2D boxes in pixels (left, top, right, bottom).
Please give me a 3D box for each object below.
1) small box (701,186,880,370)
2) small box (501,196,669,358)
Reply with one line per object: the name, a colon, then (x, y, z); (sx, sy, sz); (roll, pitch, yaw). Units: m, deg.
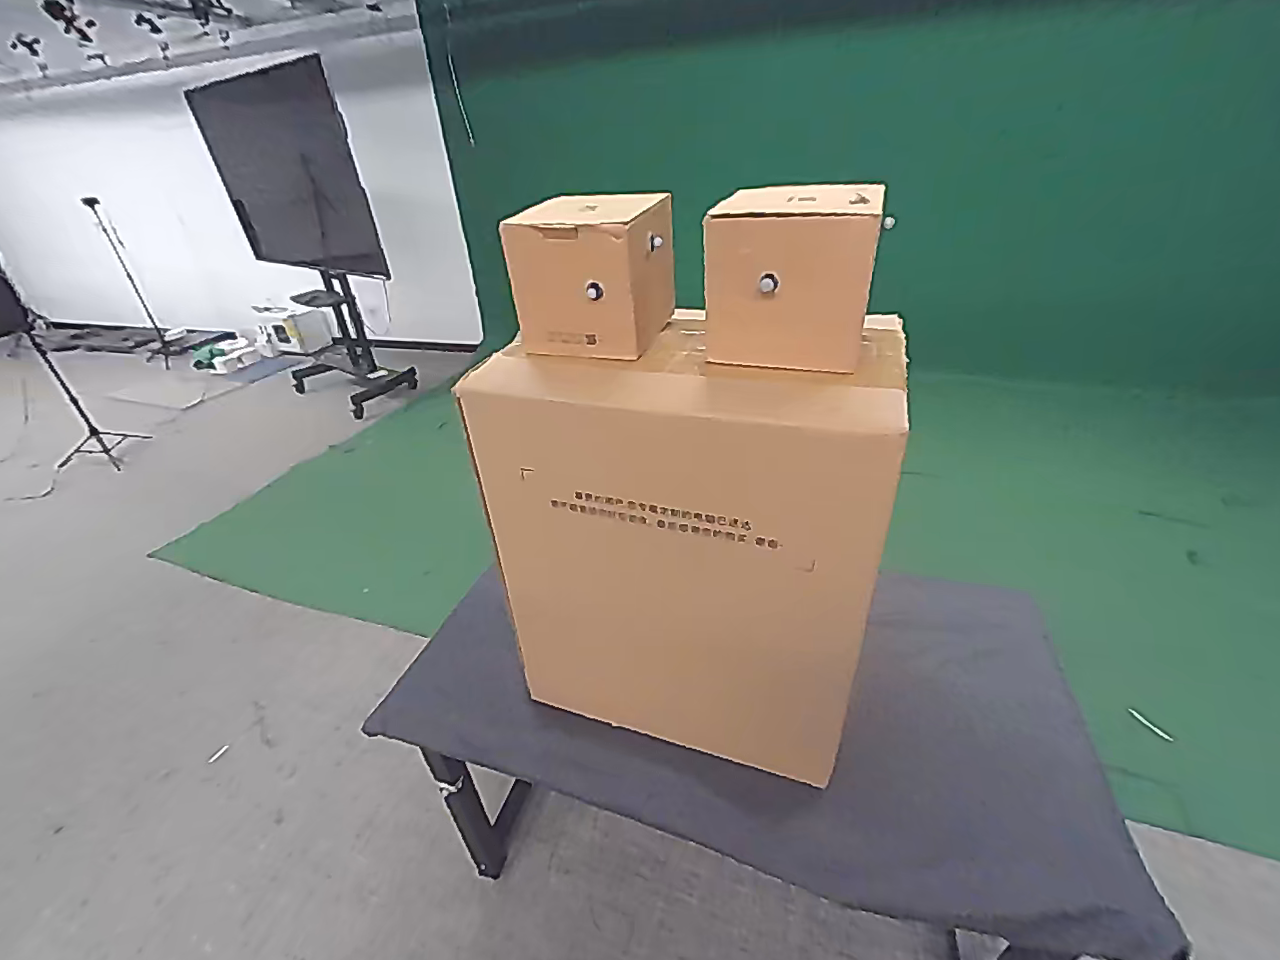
small box: (0.181, -0.243, 0.650); (0.179, 0.176, 0.168); (8, 38, 20)
small box: (-0.059, -0.276, 0.734); (0.168, 0.176, 0.179); (9, 37, 18)
